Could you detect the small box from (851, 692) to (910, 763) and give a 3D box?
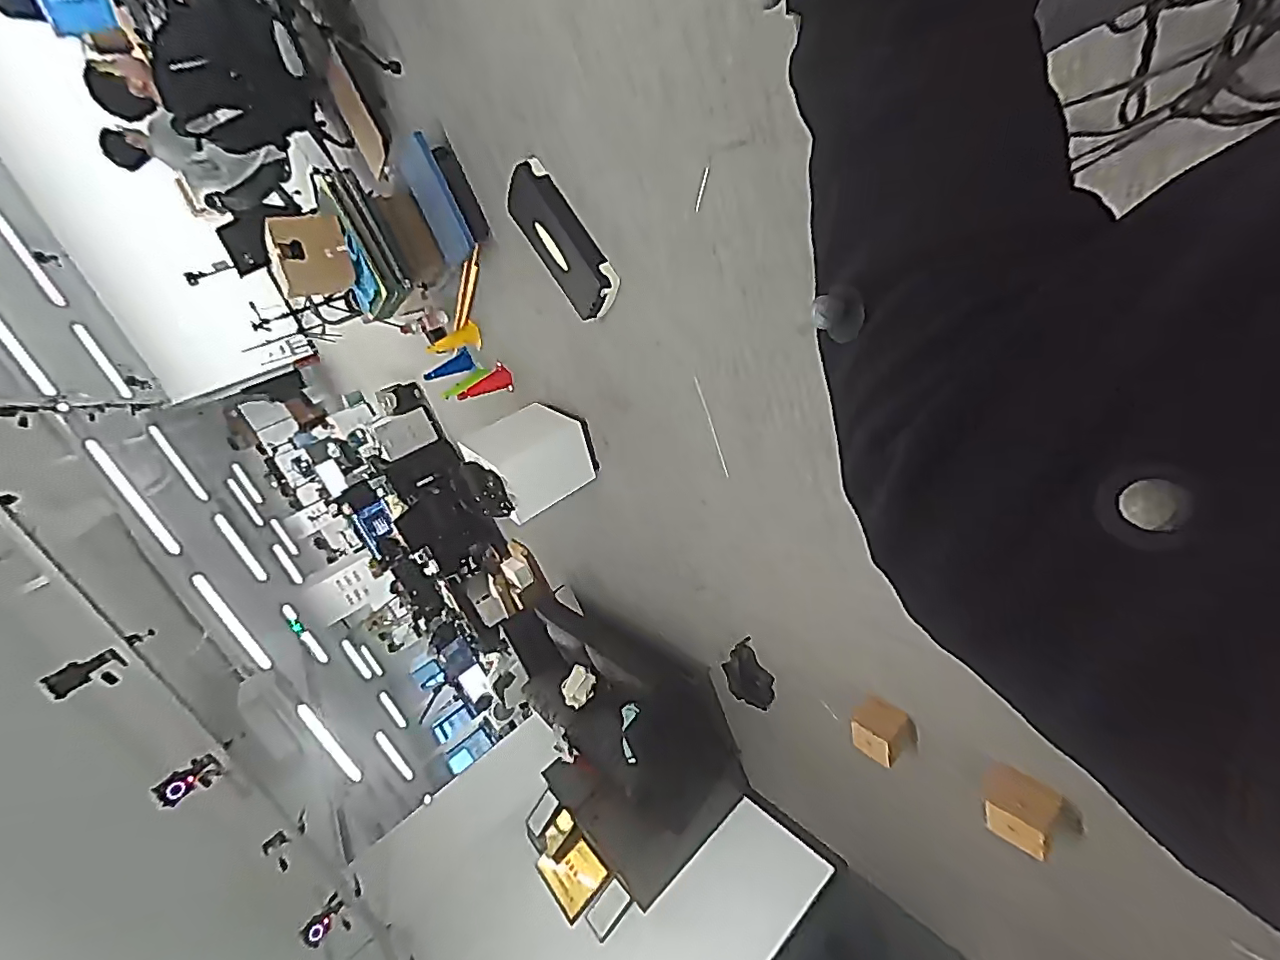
[{"bbox_3d":[1.021,1.039,2.288,0.168,0.176,0.179,22,138,51],"label":"small box"}]

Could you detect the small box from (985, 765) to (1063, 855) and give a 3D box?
[{"bbox_3d":[1.330,1.131,1.875,0.179,0.176,0.168,16,132,52],"label":"small box"}]
